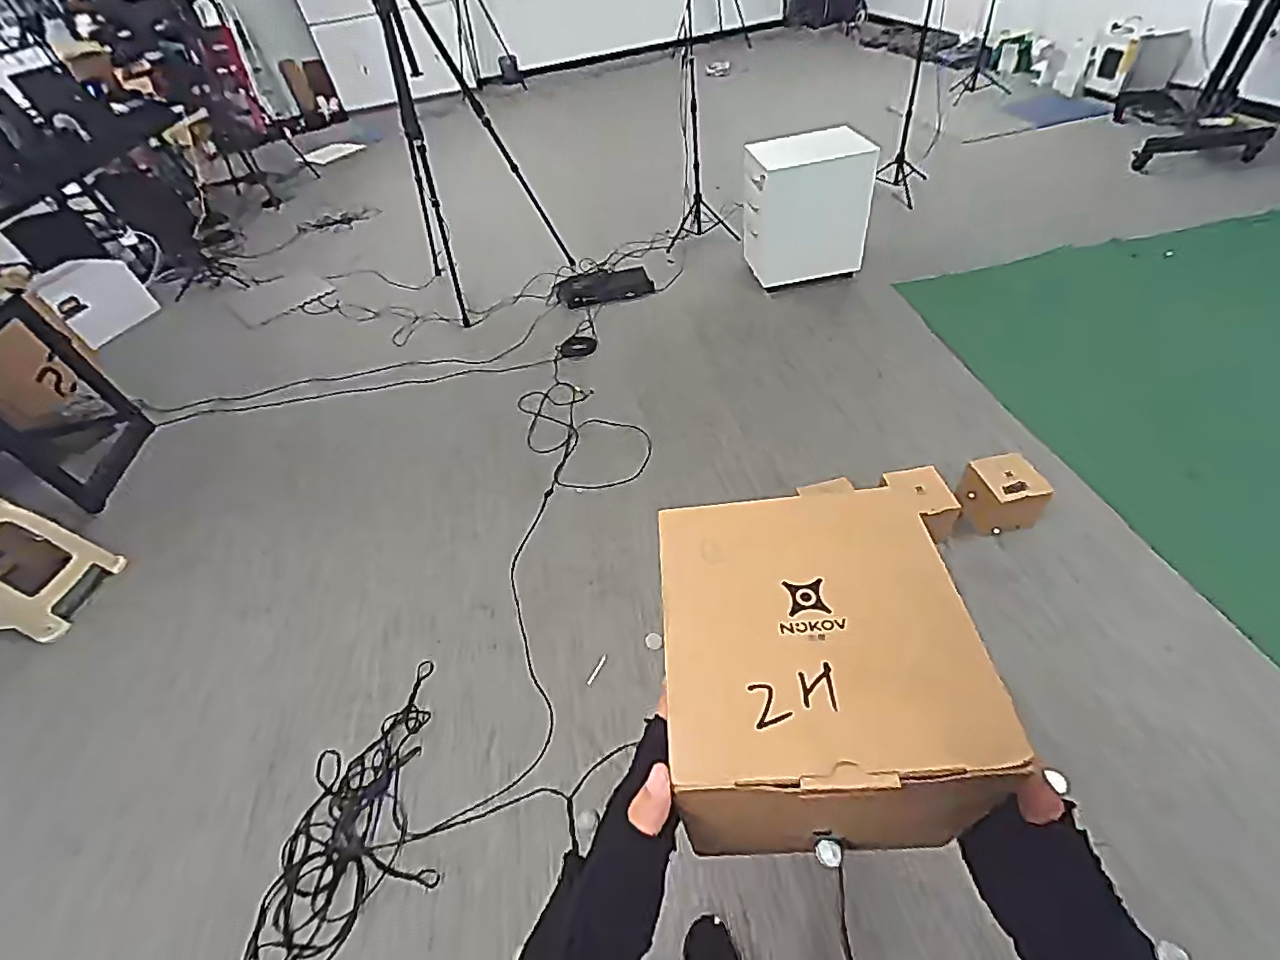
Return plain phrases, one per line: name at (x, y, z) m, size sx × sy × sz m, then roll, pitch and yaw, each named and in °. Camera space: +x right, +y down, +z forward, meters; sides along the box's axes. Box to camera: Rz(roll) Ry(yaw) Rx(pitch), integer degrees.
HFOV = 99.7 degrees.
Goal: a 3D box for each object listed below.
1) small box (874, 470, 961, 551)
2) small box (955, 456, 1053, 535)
small box at (0.859, 0.095, 1.694) m, size 0.168 × 0.176 × 0.179 m, roll -10°, pitch 47°, yaw 0°
small box at (1.125, 0.056, 1.687) m, size 0.168 × 0.176 × 0.179 m, roll -10°, pitch 46°, yaw 0°
